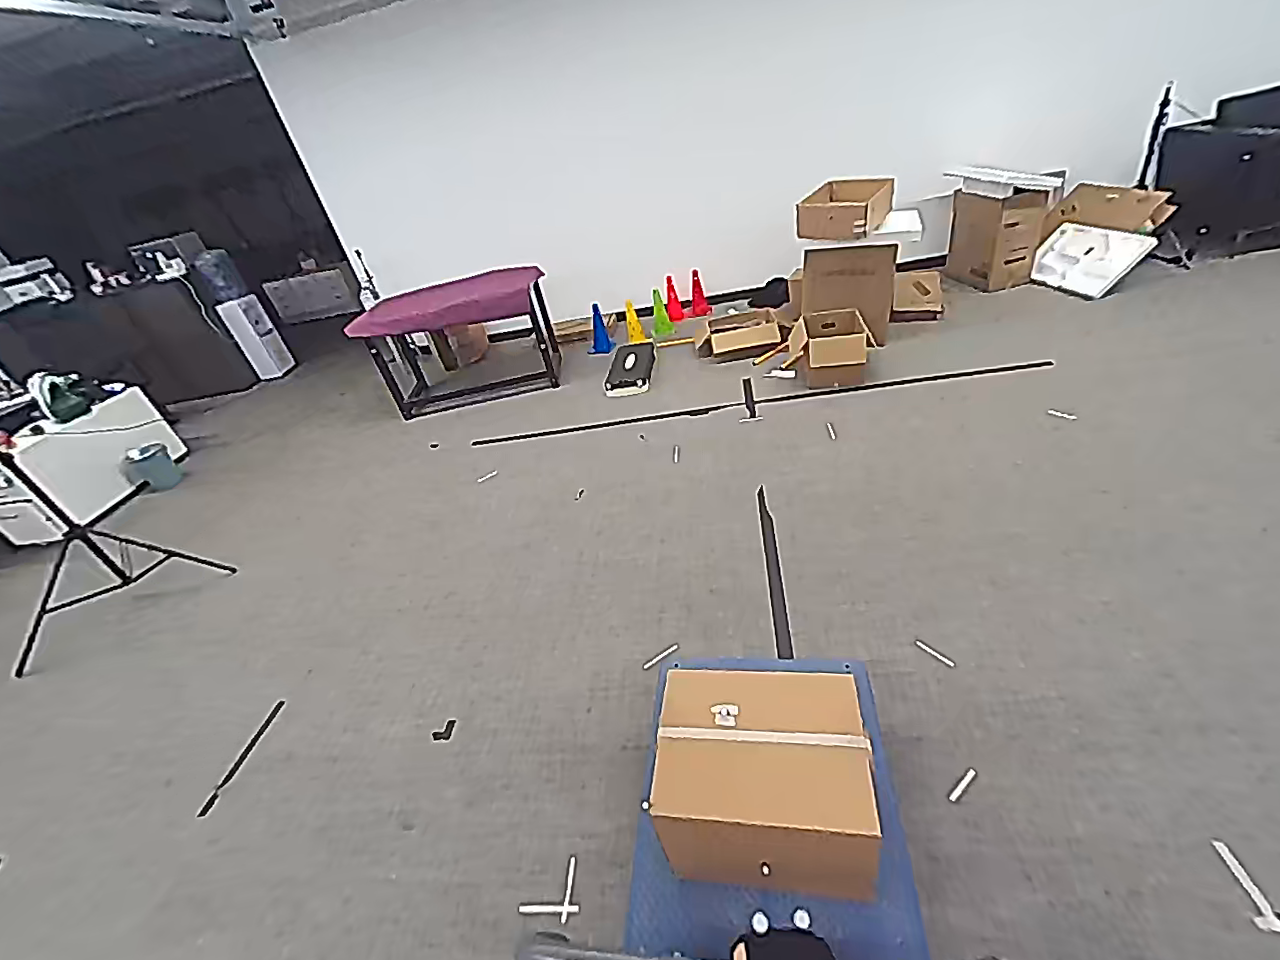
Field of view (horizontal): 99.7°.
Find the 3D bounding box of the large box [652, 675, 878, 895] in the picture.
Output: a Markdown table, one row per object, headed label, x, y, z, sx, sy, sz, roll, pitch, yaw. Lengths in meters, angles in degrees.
| label | x | y | z | sx | sy | sz | roll | pitch | yaw |
| --- | --- | --- | --- | --- | --- | --- | --- | --- | --- |
| large box | 0.267 | 0.648 | 1.166 | 0.408 | 0.320 | 0.320 | -5 | 34 | 14 |
